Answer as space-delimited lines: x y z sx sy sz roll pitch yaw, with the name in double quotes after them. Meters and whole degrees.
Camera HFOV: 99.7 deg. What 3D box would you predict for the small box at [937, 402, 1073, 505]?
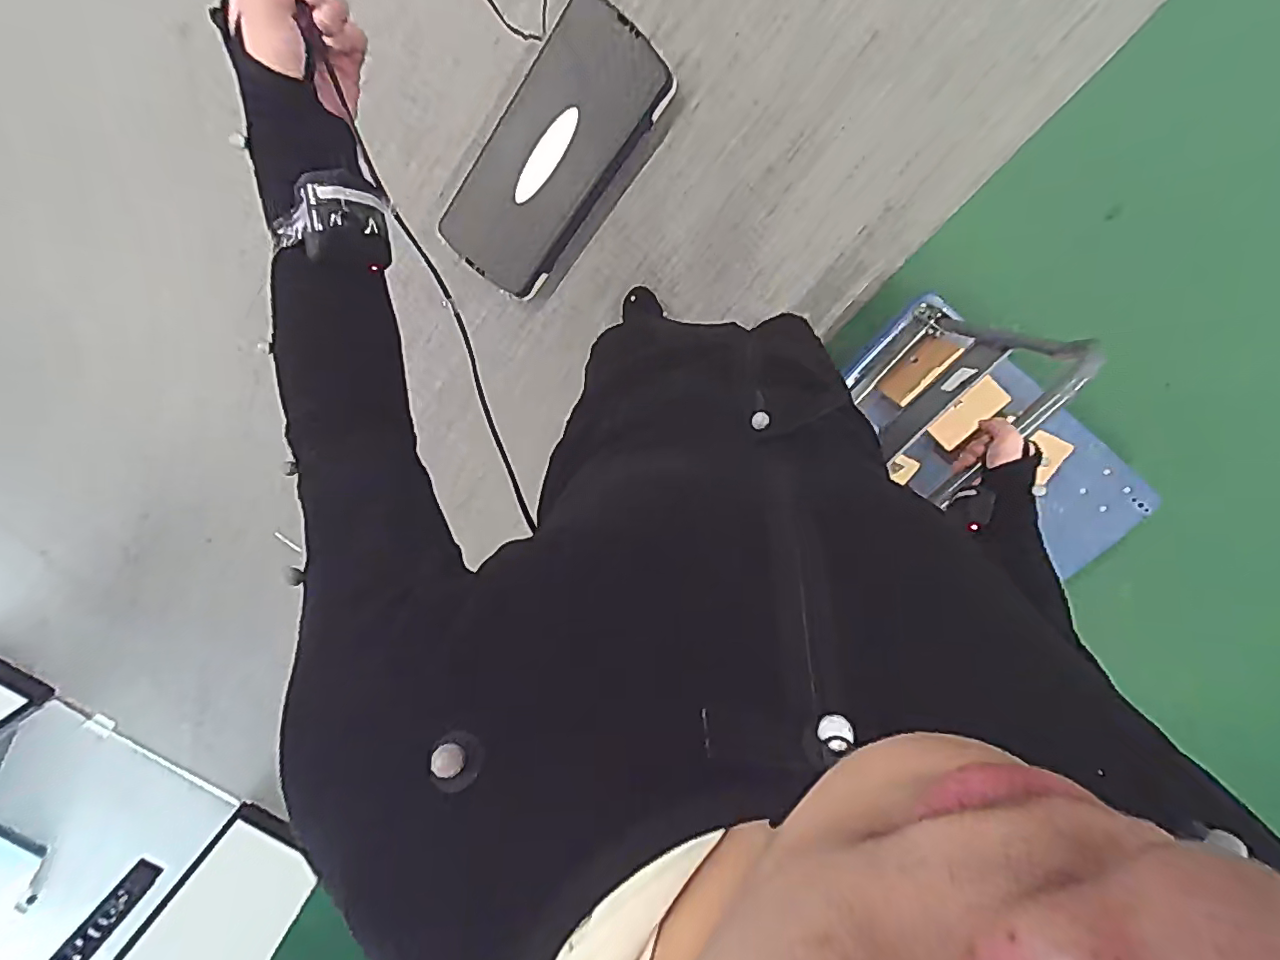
0.857 -0.073 1.294 0.179 0.176 0.168 24 113 -5 "small box"
